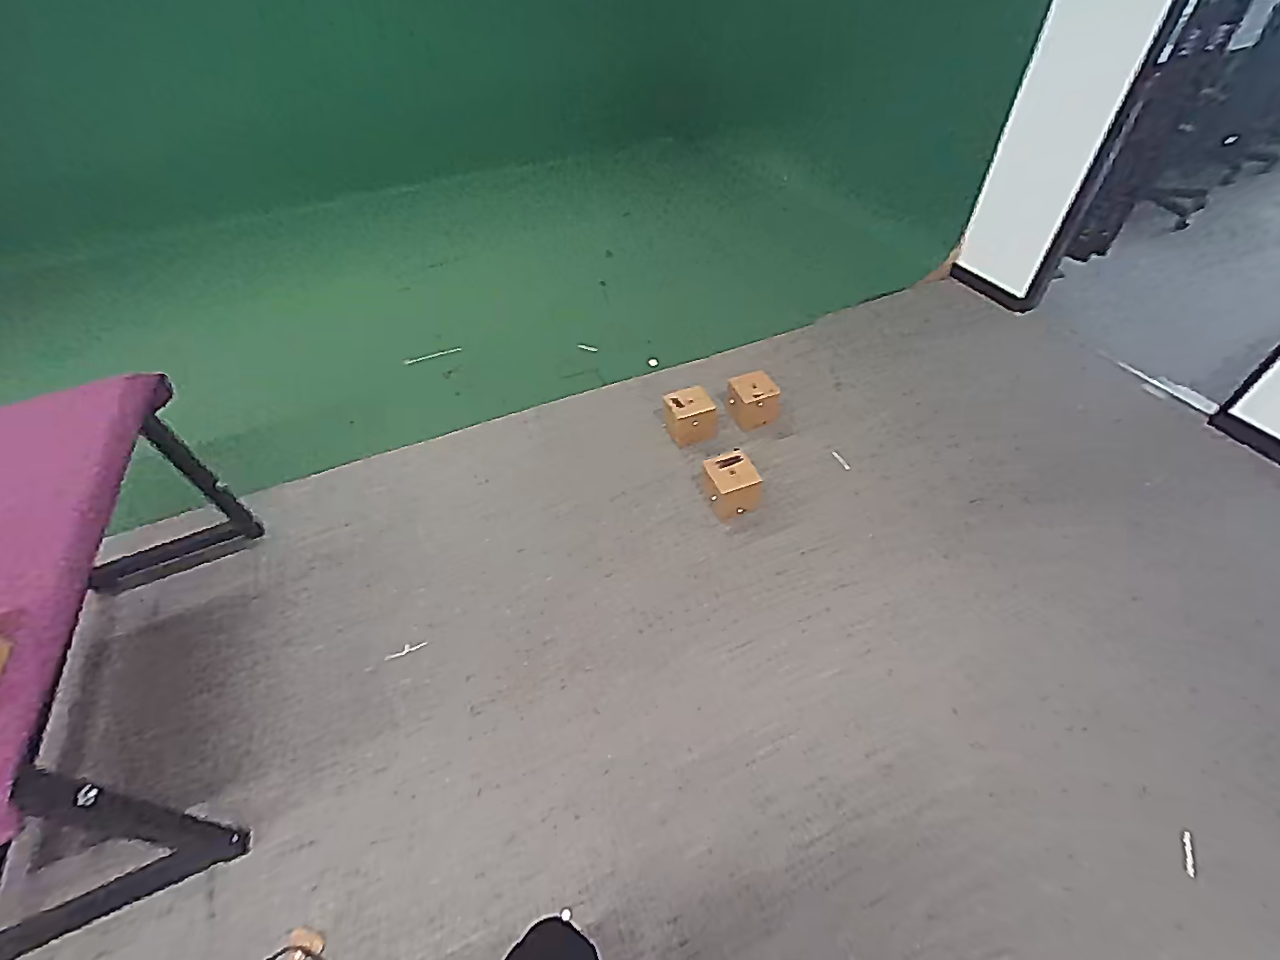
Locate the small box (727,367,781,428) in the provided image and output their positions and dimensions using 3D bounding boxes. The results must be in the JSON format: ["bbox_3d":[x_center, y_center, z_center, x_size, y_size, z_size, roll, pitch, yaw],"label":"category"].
[{"bbox_3d":[0.483,-0.353,2.320,0.168,0.176,0.179,-17,48,-10],"label":"small box"}]

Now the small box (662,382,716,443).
[{"bbox_3d":[0.207,-0.279,2.277,0.179,0.176,0.168,-18,50,-11],"label":"small box"}]
